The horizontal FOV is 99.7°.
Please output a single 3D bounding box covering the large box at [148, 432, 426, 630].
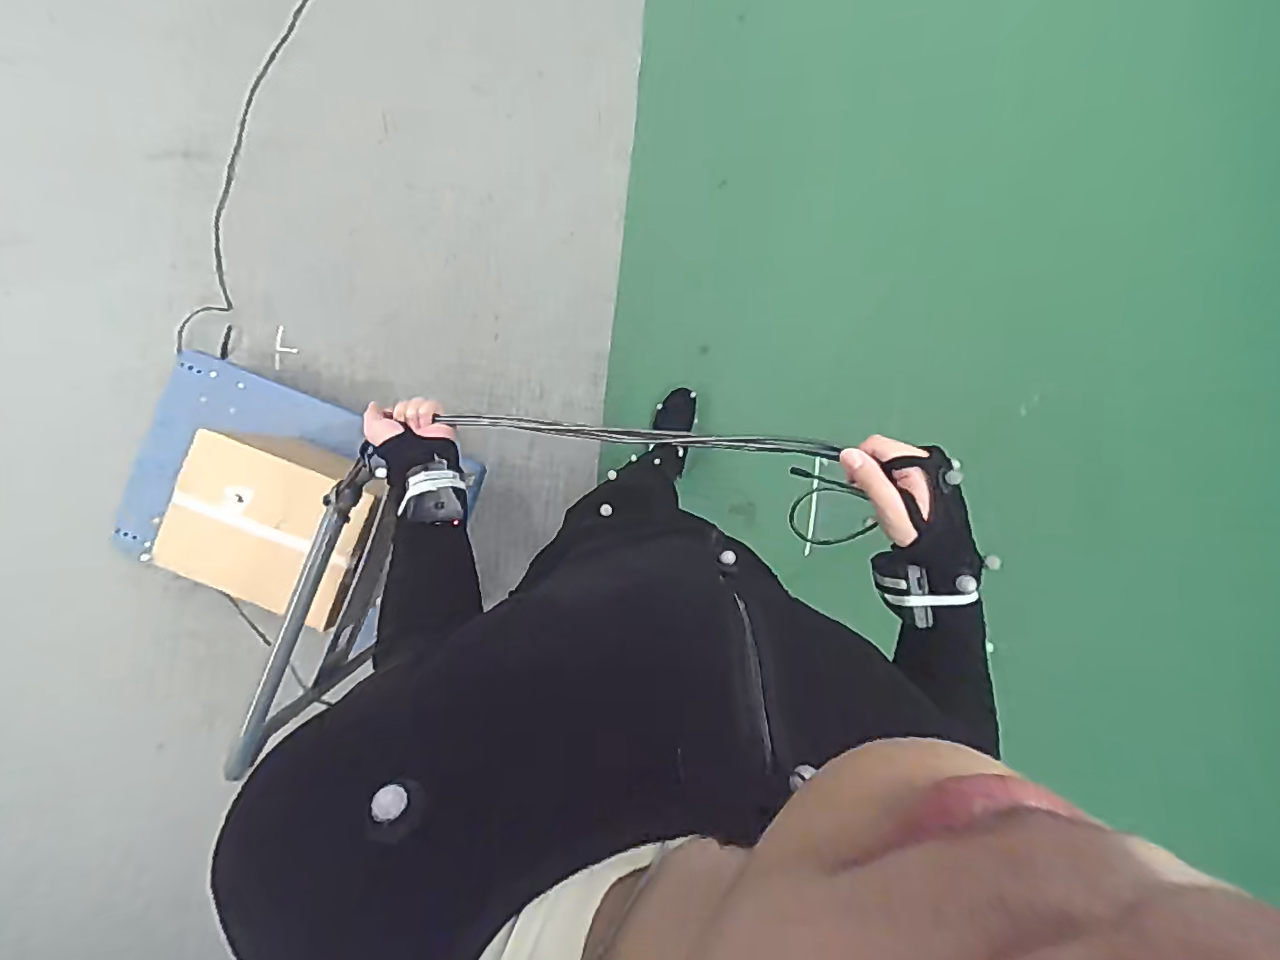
[{"bbox_3d":[-0.795,0.106,1.280,0.408,0.320,0.320,21,90,1],"label":"large box"}]
